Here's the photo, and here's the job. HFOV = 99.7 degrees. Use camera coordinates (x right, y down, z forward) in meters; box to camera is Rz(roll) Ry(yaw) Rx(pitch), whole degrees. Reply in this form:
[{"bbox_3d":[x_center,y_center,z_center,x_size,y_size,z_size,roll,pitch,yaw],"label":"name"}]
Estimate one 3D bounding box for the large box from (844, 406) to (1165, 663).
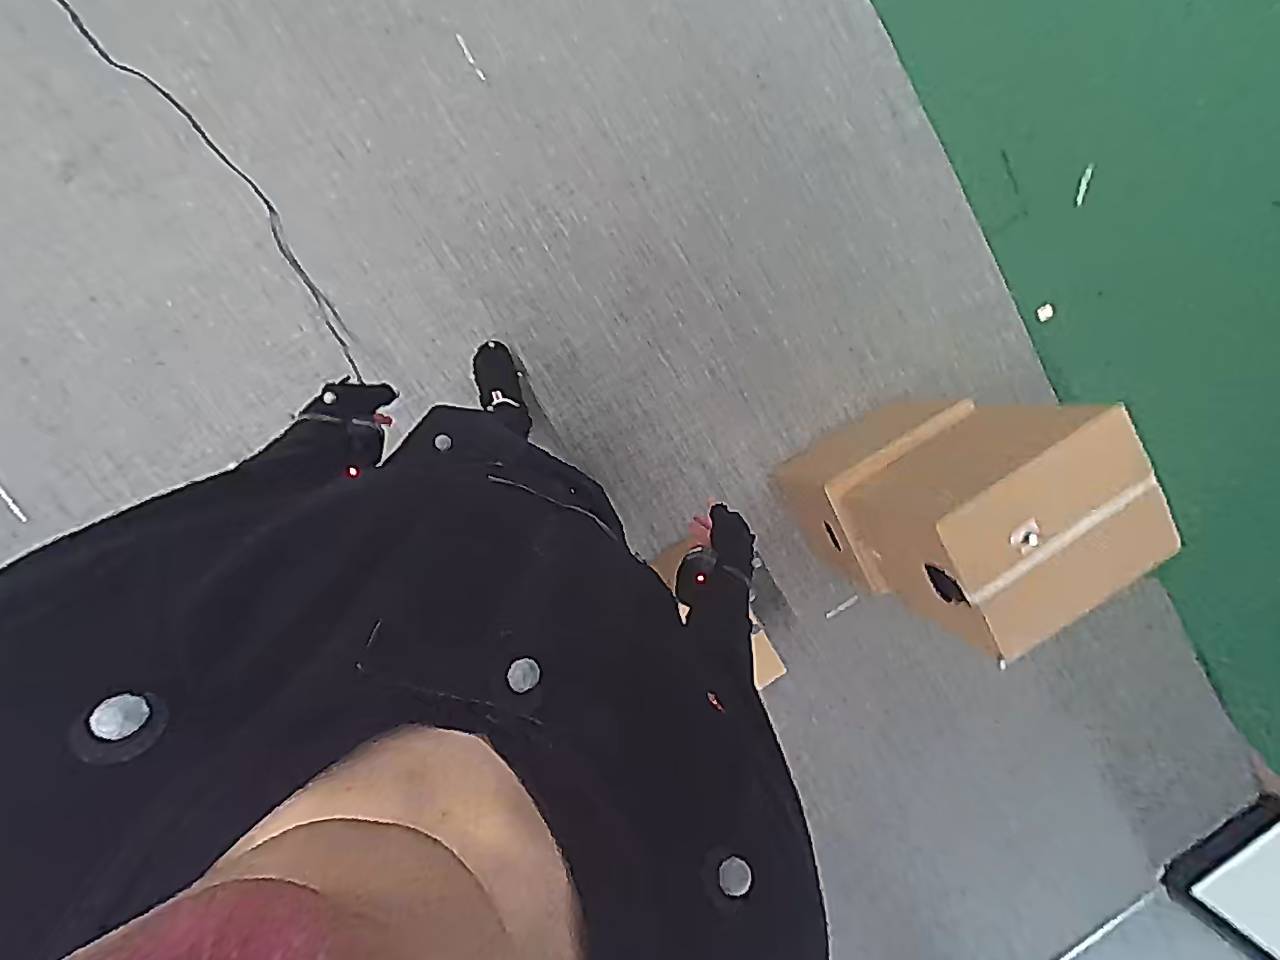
[{"bbox_3d":[0.719,0.082,1.114,0.408,0.320,0.320,-32,101,-3],"label":"large box"}]
